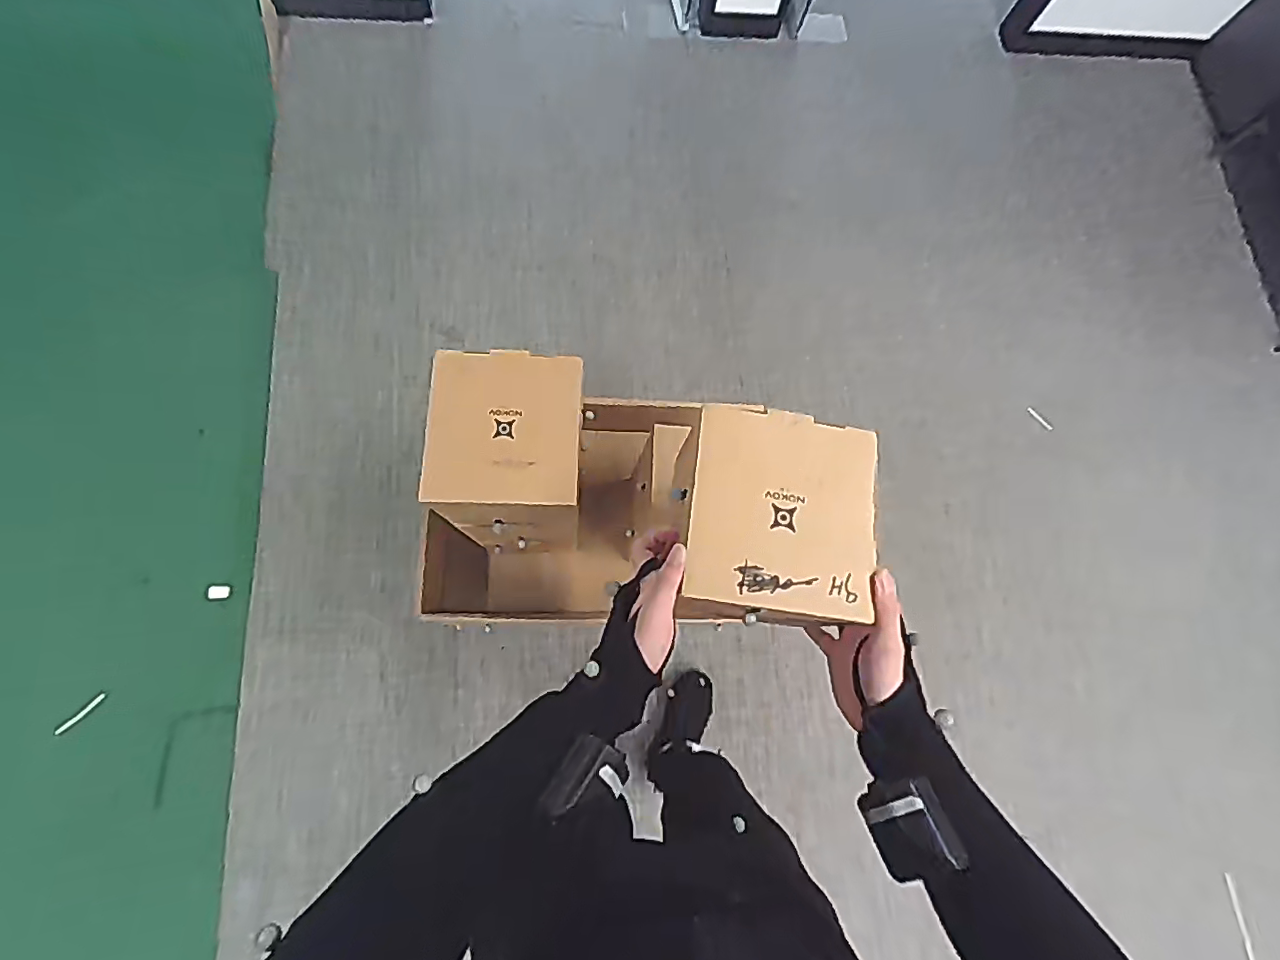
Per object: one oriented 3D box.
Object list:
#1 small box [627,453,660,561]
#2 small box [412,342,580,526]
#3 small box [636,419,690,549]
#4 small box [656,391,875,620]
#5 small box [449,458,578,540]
[{"bbox_3d":[0.066,0.056,1.000,0.168,0.176,0.179,3,77,-6],"label":"small box"},{"bbox_3d":[-0.161,-0.046,0.660,0.168,0.176,0.179,2,76,-6],"label":"small box"},{"bbox_3d":[0.085,0.019,0.841,0.168,0.176,0.179,4,76,-6],"label":"small box"},{"bbox_3d":[0.113,0.037,0.537,0.168,0.176,0.179,8,73,-3],"label":"small box"},{"bbox_3d":[-0.179,-0.009,0.816,0.168,0.176,0.179,1,76,-6],"label":"small box"}]
